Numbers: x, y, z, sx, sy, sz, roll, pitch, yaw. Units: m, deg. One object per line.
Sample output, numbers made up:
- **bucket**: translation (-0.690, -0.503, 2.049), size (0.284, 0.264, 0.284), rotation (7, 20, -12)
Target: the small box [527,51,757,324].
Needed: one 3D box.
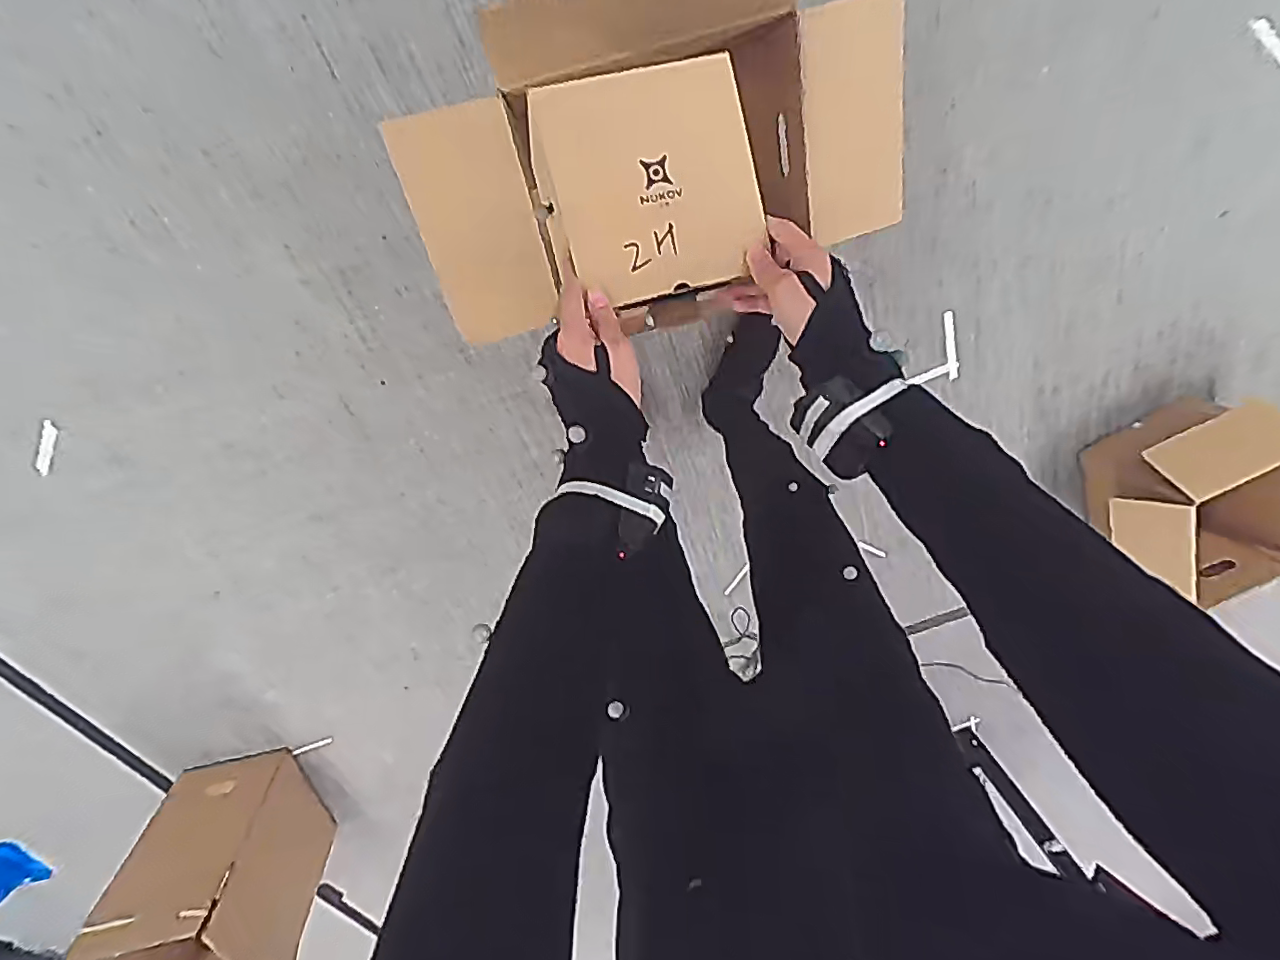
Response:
- **small box**: translation (-0.007, -0.259, 0.521), size (0.168, 0.176, 0.179), rotation (-15, 105, -6)
